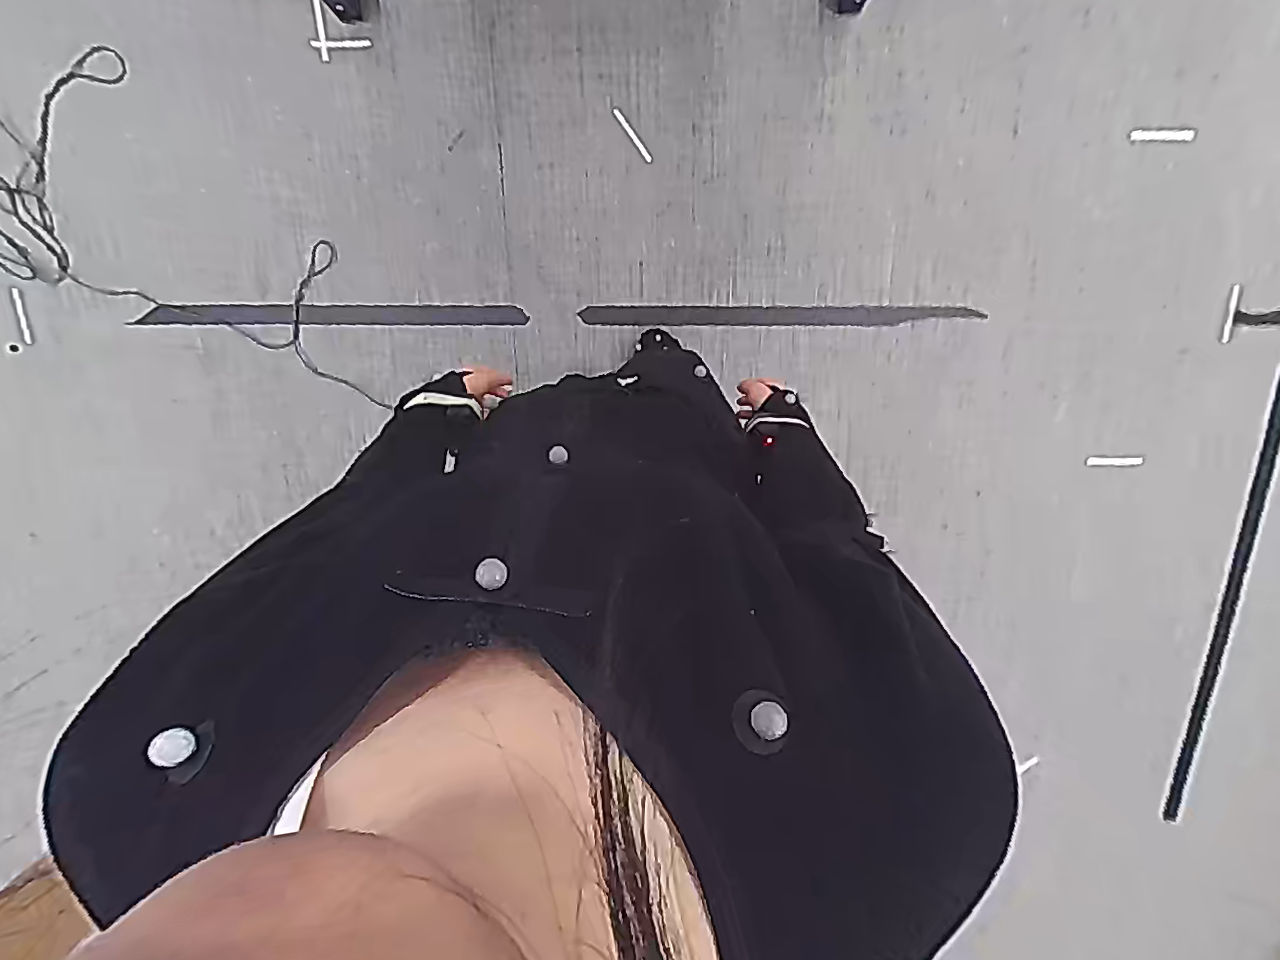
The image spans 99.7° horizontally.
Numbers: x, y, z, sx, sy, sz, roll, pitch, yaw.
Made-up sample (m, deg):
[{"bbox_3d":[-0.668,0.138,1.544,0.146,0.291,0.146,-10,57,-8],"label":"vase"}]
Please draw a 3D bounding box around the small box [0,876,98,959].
[{"bbox_3d":[-1.173,0.868,0.979,0.168,0.176,0.179,-40,100,9],"label":"small box"}]
